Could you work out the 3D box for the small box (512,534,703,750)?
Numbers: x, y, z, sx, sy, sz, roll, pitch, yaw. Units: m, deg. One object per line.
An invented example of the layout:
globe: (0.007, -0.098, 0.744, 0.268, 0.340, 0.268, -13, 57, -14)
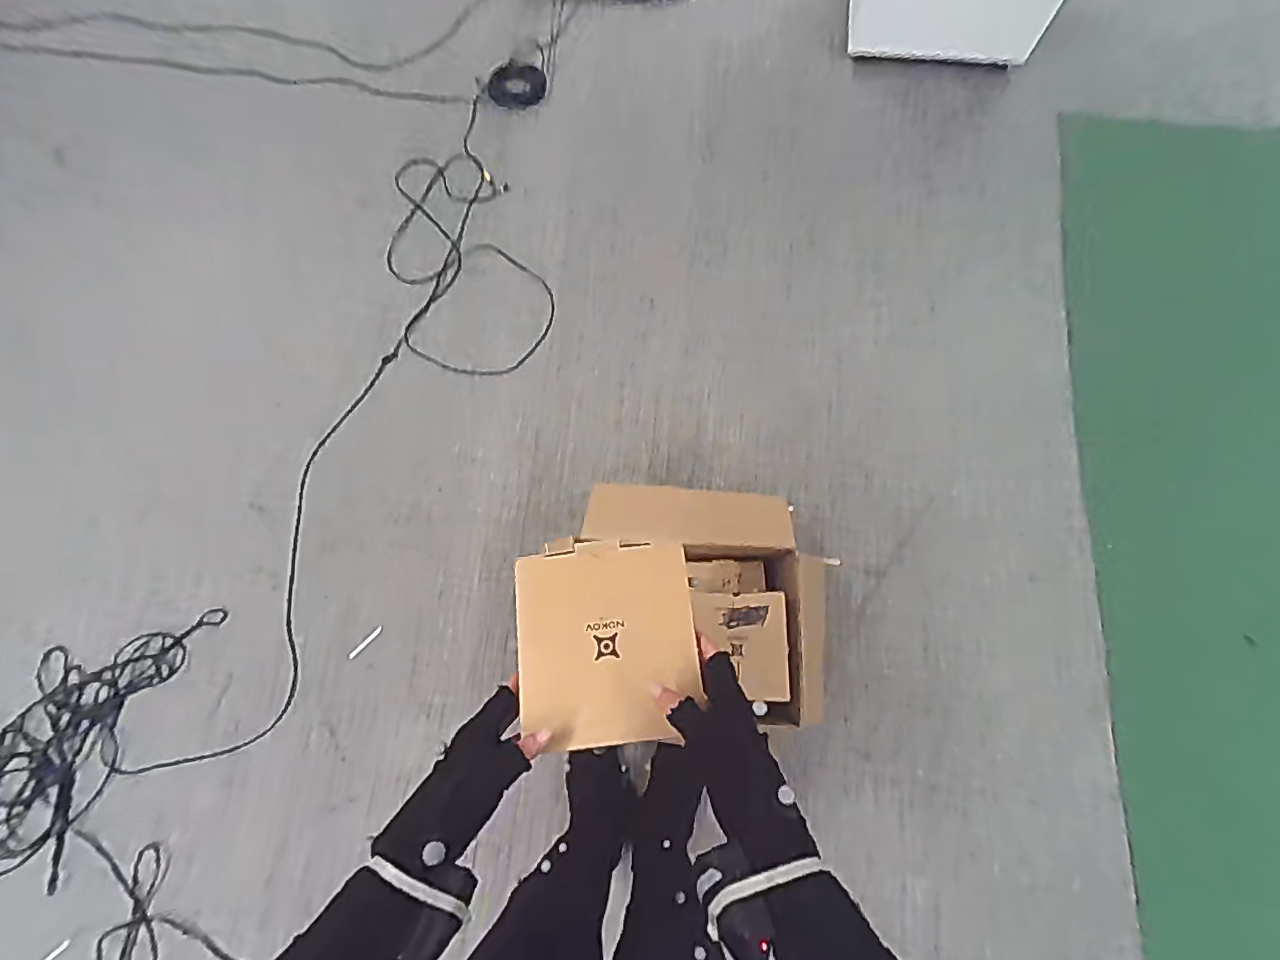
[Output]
small box: (-0.031, 0.166, 0.564, 0.168, 0.176, 0.179, -6, 71, -1)
